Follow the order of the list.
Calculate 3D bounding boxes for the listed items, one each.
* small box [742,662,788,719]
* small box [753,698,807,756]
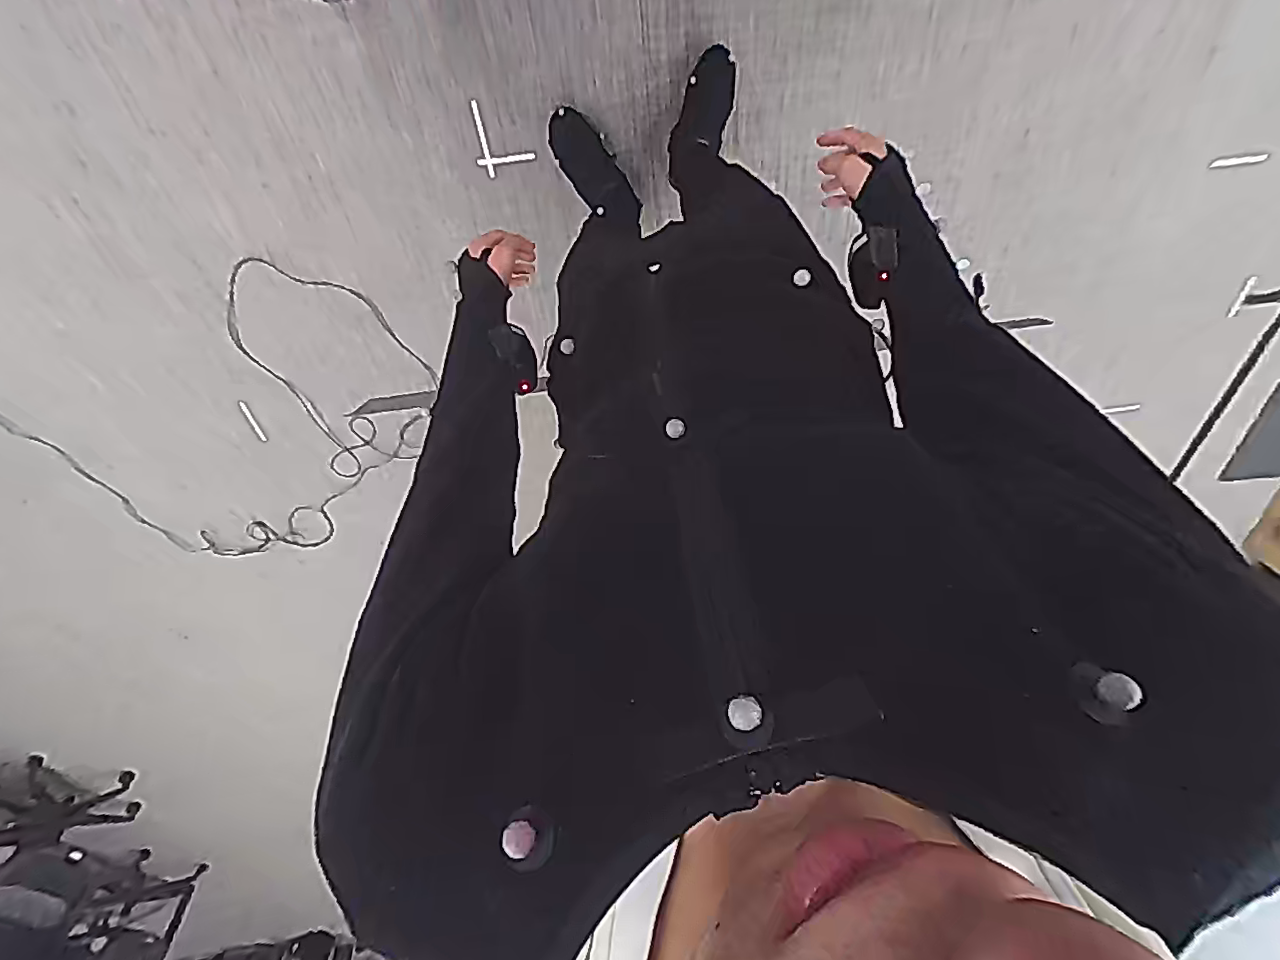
[{"bbox_3d":[0.569,0.960,2.463,0.168,0.176,0.179,-12,128,0],"label":"small box"},{"bbox_3d":[0.602,1.067,2.344,0.179,0.176,0.168,-8,129,-3],"label":"small box"}]
